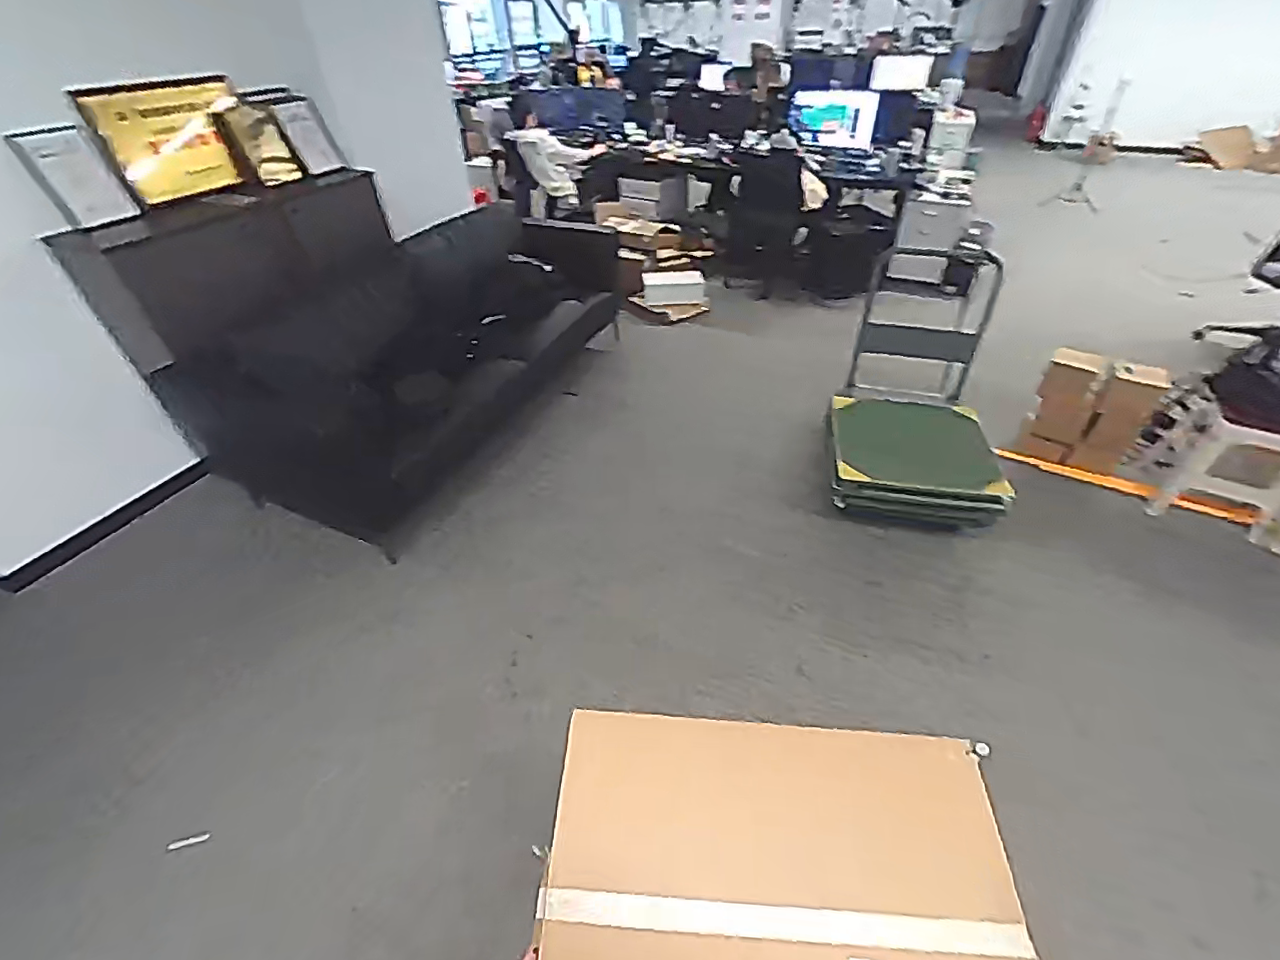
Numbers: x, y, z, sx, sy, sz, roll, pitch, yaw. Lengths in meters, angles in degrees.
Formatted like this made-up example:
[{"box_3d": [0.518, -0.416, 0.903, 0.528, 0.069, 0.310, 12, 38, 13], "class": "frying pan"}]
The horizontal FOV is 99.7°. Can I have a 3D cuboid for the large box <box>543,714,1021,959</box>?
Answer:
[{"box_3d": [0.113, 0.464, 0.578, 0.408, 0.320, 0.320, 3, 51, 0], "class": "large box"}]
